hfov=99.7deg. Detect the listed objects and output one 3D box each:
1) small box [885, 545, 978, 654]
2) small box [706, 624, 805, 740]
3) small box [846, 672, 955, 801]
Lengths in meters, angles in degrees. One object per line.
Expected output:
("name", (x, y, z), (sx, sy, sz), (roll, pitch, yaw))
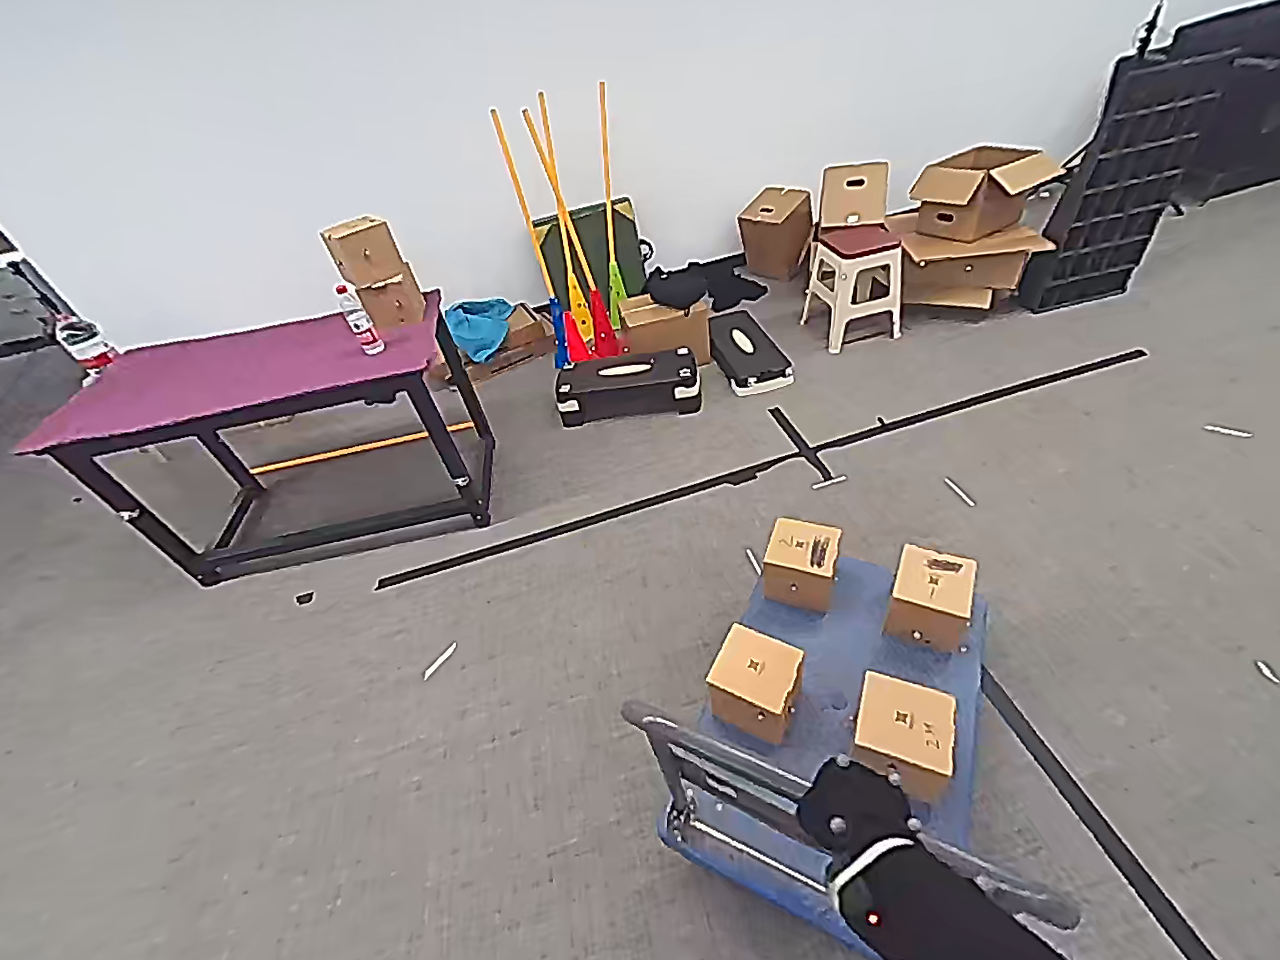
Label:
("small box", (0.726, 0.299, 1.357), (0.168, 0.176, 0.179), (15, 50, 26))
("small box", (0.271, 0.477, 1.270), (0.179, 0.176, 0.168), (18, 49, 26))
("small box", (0.543, 0.542, 1.138), (0.179, 0.176, 0.168), (12, 48, 24))
